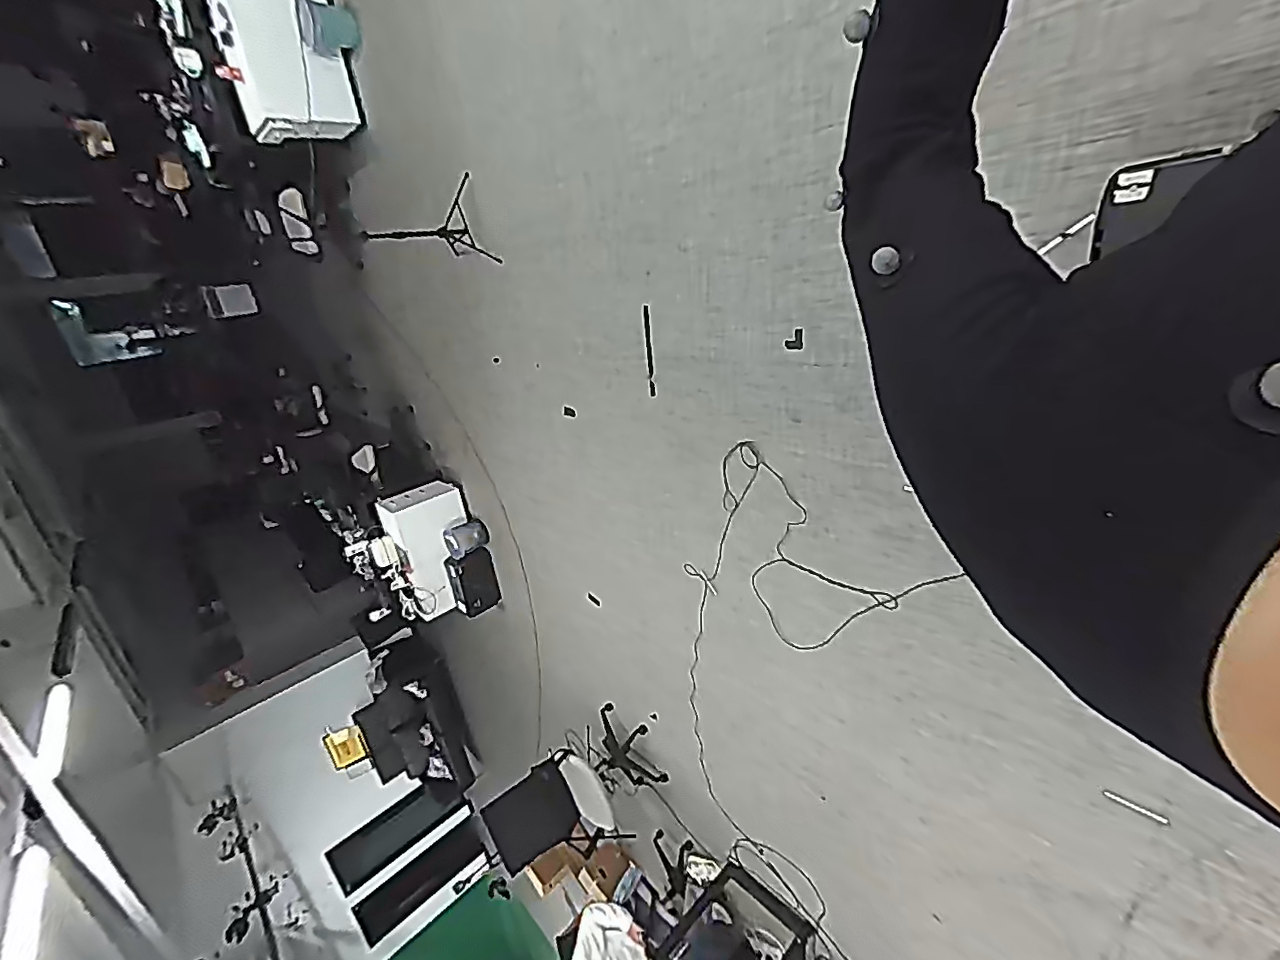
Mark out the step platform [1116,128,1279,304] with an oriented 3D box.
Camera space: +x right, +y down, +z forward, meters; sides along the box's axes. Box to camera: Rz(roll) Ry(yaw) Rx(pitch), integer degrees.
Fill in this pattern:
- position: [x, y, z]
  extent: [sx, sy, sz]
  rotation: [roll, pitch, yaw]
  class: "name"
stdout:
- position: [1.243, -0.467, 0.896]
  extent: [0.684, 0.204, 0.286]
  rotation: [12, 119, 45]
  class: "step platform"
